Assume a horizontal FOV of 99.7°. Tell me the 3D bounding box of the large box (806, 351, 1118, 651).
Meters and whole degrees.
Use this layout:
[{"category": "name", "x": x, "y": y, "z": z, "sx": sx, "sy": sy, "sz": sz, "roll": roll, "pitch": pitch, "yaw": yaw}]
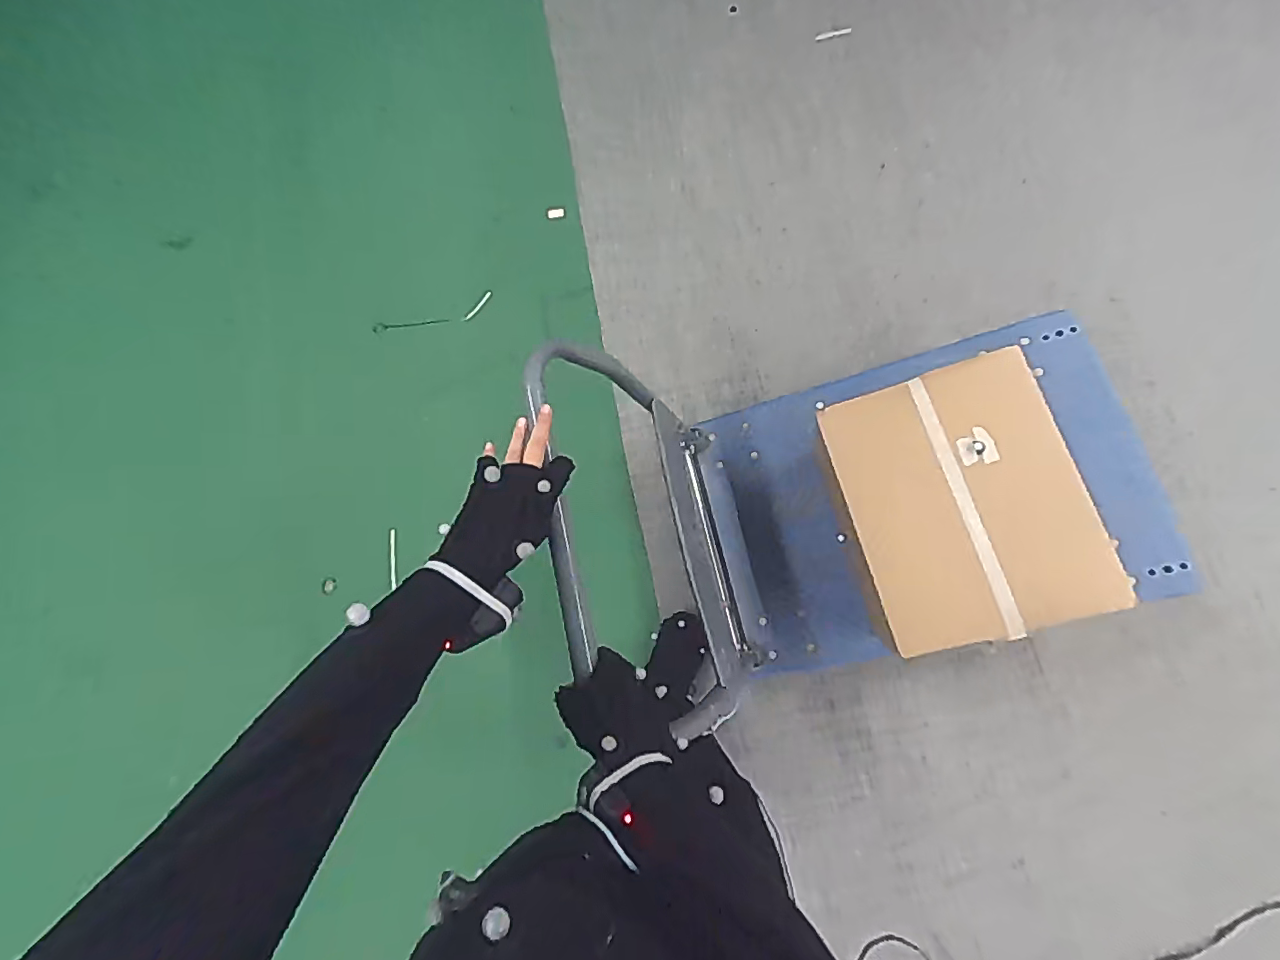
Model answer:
[{"category": "large box", "x": 0.515, "y": 0.056, "z": 0.964, "sx": 0.320, "sy": 0.320, "sz": 0.408, "roll": -18, "pitch": 74, "yaw": 13}]
